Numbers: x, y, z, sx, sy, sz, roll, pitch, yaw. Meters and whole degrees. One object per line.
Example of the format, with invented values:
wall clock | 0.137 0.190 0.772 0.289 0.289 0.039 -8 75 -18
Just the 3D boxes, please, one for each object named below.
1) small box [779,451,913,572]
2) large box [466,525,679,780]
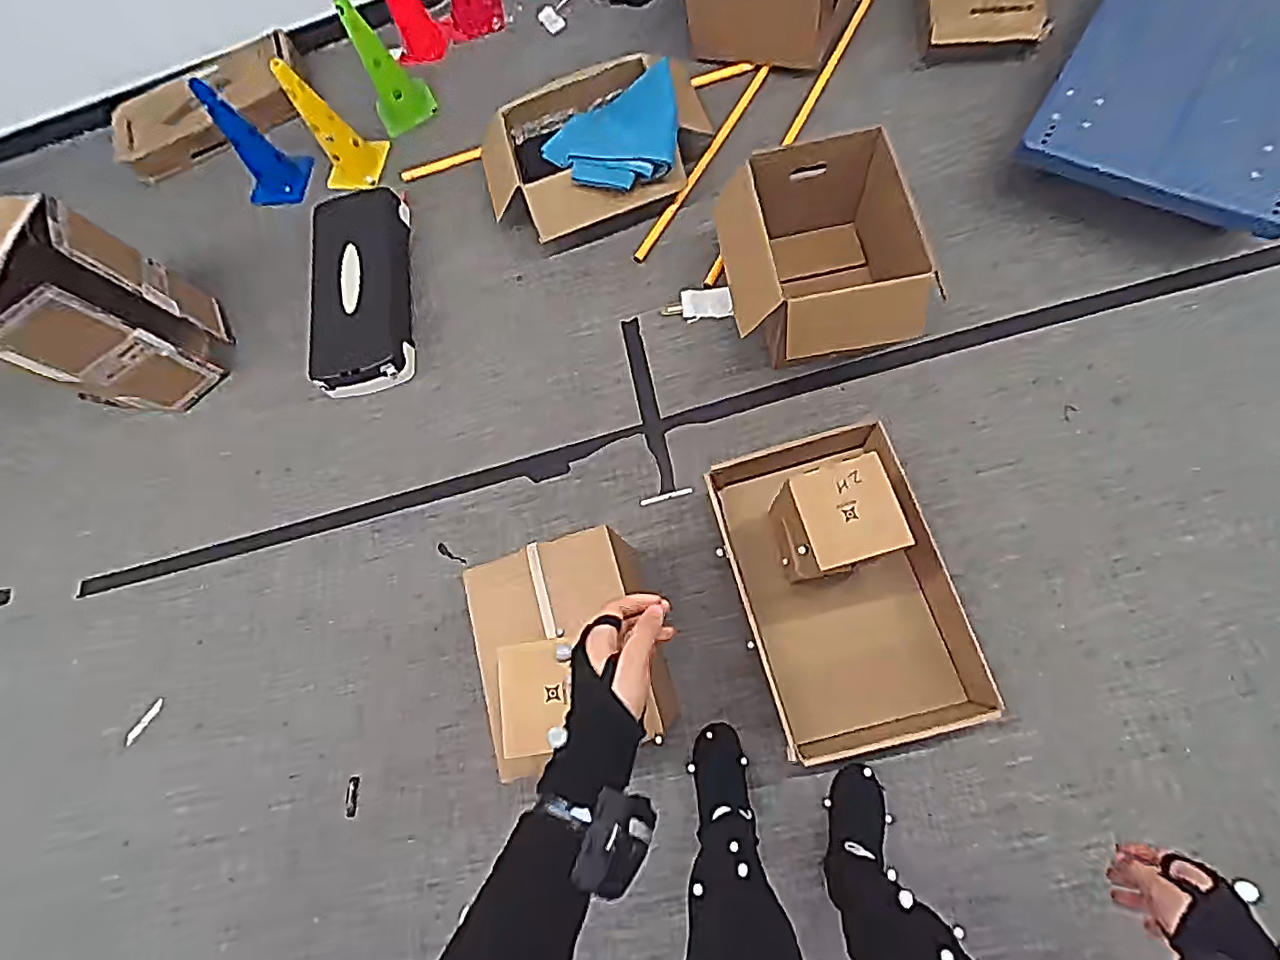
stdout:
small box | 0.371 0.069 1.008 0.168 0.176 0.179 -17 74 3
large box | -0.130 0.352 1.163 0.320 0.320 0.408 -19 73 4
